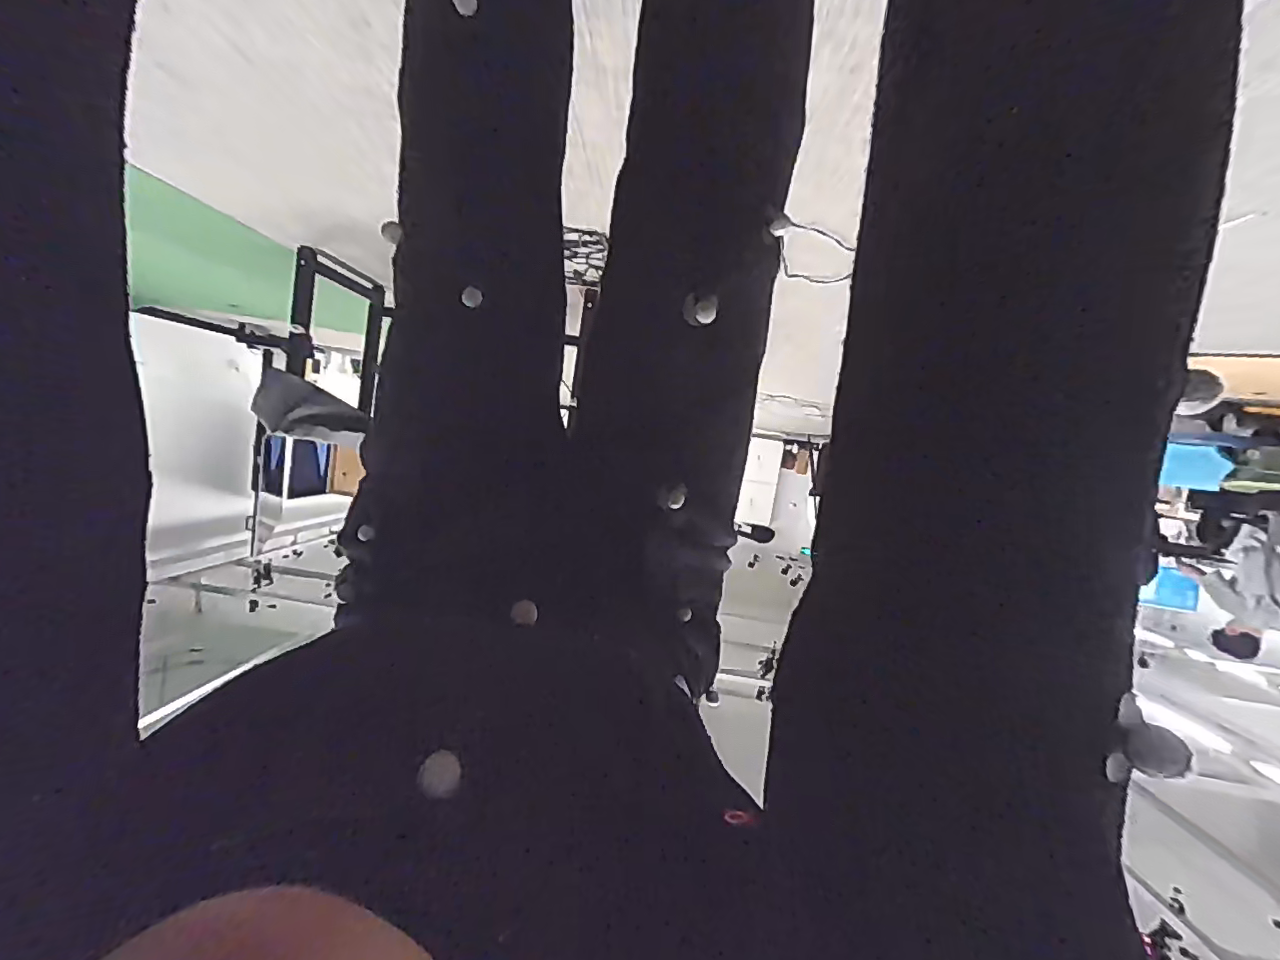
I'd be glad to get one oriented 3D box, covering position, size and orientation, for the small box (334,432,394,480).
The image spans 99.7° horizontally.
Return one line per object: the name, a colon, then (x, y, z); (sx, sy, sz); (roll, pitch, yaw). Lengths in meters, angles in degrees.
small box: (-1.148, -0.104, 2.260); (0.179, 0.176, 0.168); (10, -175, -1)
